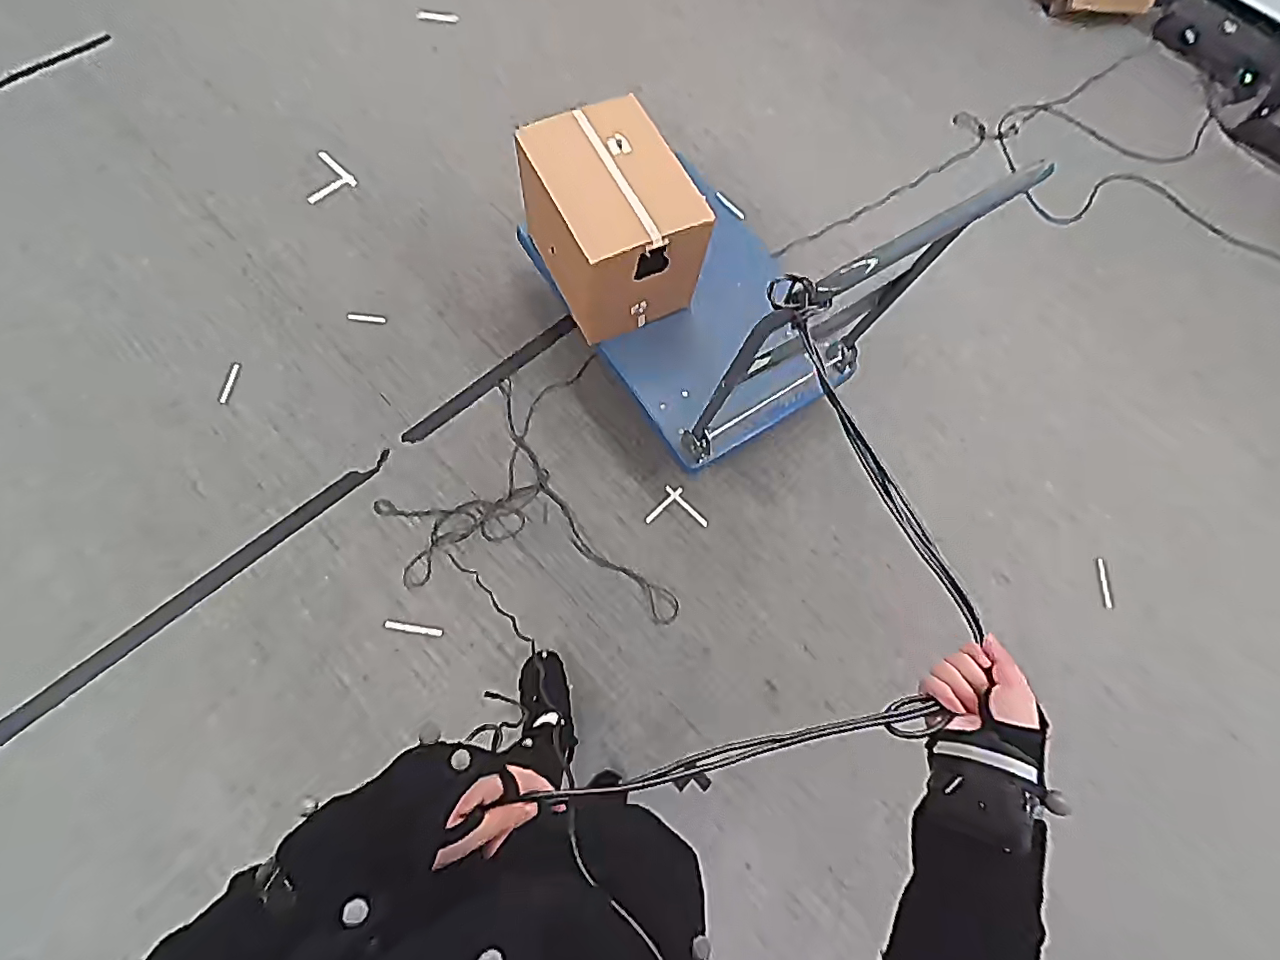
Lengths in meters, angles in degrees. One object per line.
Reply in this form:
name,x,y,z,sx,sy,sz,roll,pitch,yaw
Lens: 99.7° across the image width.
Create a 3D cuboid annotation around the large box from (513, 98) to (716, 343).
large box,-0.069,-0.623,1.334,0.320,0.320,0.408,-25,75,-13
